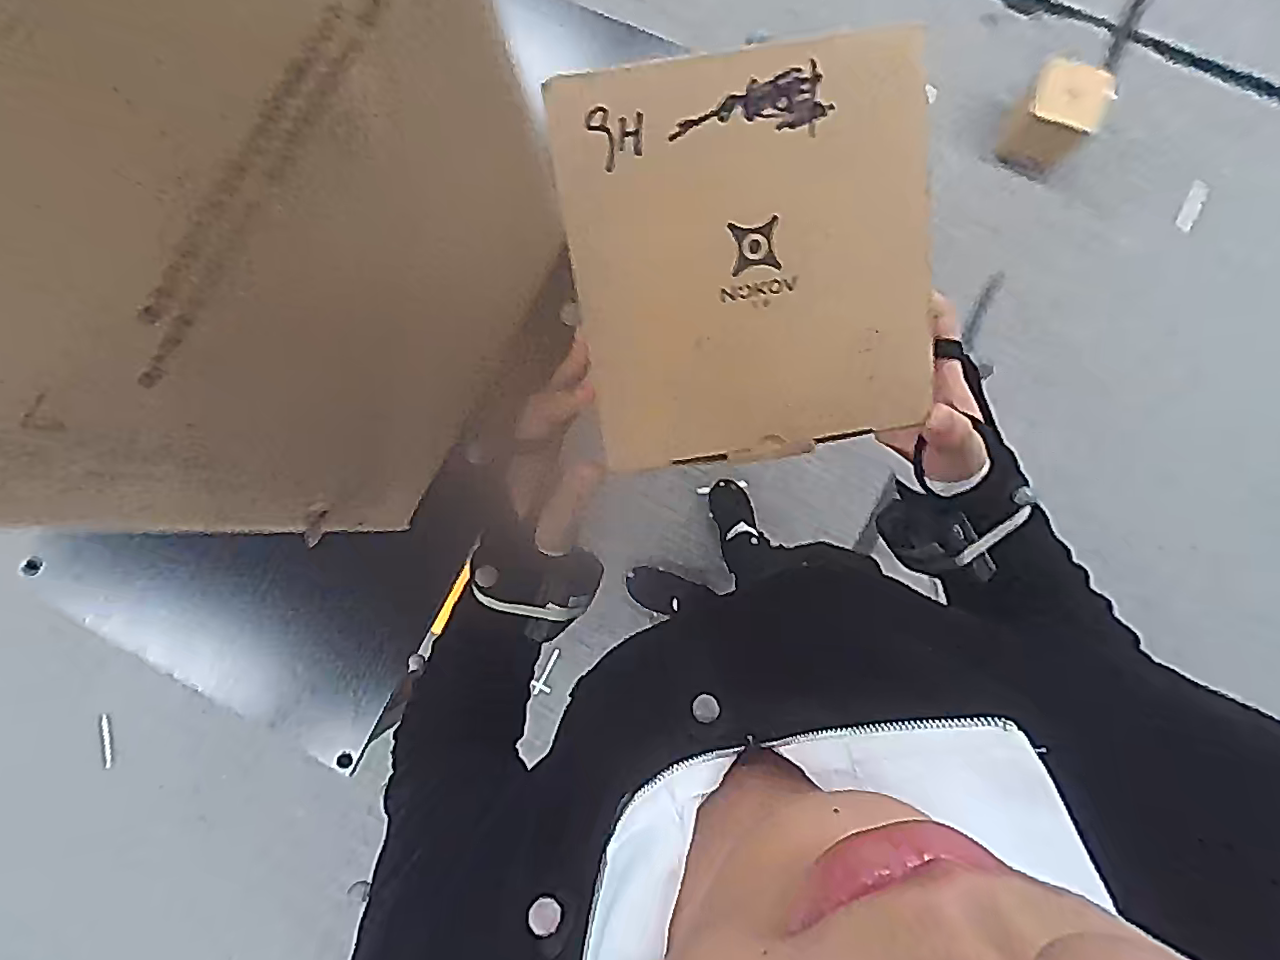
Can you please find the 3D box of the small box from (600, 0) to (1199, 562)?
[{"bbox_3d":[0.078,-0.086,0.245,0.168,0.176,0.179,-9,106,-1],"label":"small box"}]
